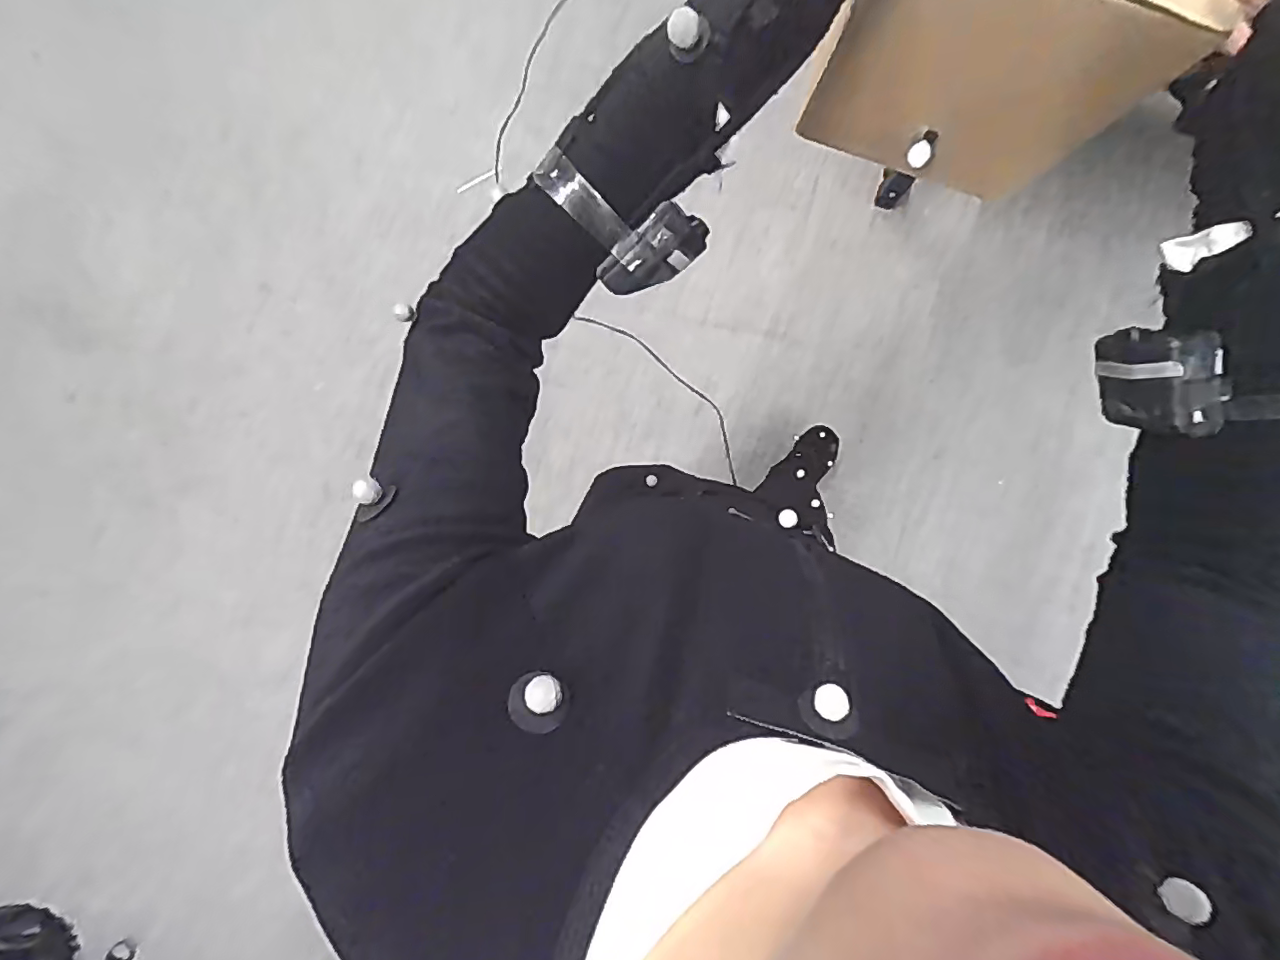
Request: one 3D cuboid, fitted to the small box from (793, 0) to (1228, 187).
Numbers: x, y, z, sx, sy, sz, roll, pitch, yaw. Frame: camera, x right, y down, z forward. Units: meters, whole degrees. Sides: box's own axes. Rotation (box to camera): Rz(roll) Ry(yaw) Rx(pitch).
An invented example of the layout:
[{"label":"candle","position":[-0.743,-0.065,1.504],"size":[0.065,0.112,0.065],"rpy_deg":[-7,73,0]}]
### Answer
[{"label":"small box","position":[0.226,-0.323,0.344],"size":[0.179,0.176,0.168],"rpy_deg":[18,90,-3]}]
